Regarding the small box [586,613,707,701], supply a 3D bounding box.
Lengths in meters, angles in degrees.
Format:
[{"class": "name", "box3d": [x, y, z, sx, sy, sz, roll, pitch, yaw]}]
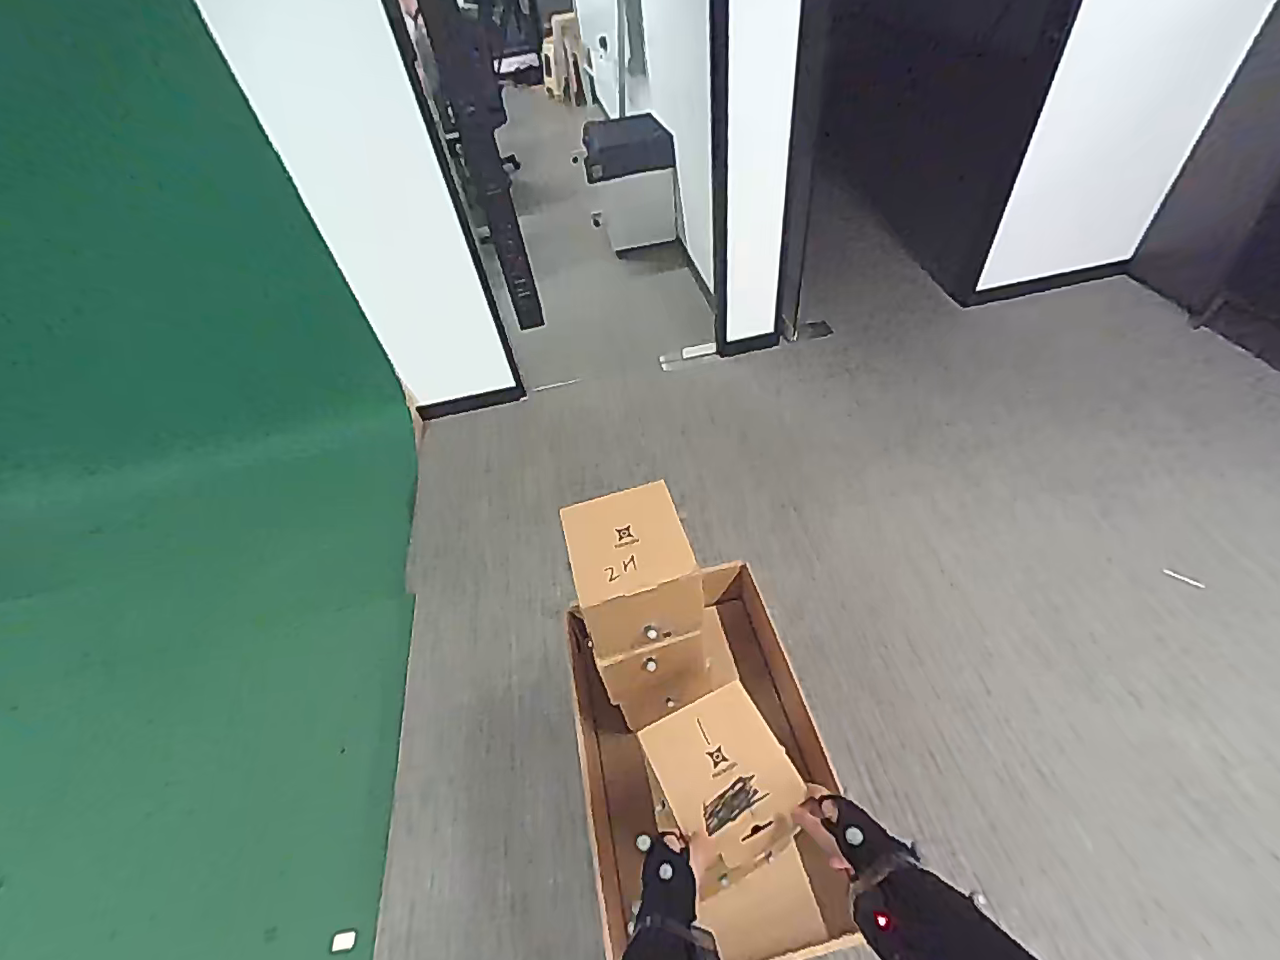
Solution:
[{"class": "small box", "box3d": [0.008, 0.255, 0.938, 0.179, 0.176, 0.168, -17, 48, -5]}]

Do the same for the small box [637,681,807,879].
[{"class": "small box", "box3d": [0.112, 0.428, 0.764, 0.168, 0.176, 0.179, -22, 45, -13]}]

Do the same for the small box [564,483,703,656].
[{"class": "small box", "box3d": [-0.008, 0.137, 0.823, 0.168, 0.176, 0.179, -16, 49, -3]}]

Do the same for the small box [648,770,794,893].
[{"class": "small box", "box3d": [0.129, 0.540, 0.885, 0.168, 0.176, 0.179, -22, 47, -13]}]
